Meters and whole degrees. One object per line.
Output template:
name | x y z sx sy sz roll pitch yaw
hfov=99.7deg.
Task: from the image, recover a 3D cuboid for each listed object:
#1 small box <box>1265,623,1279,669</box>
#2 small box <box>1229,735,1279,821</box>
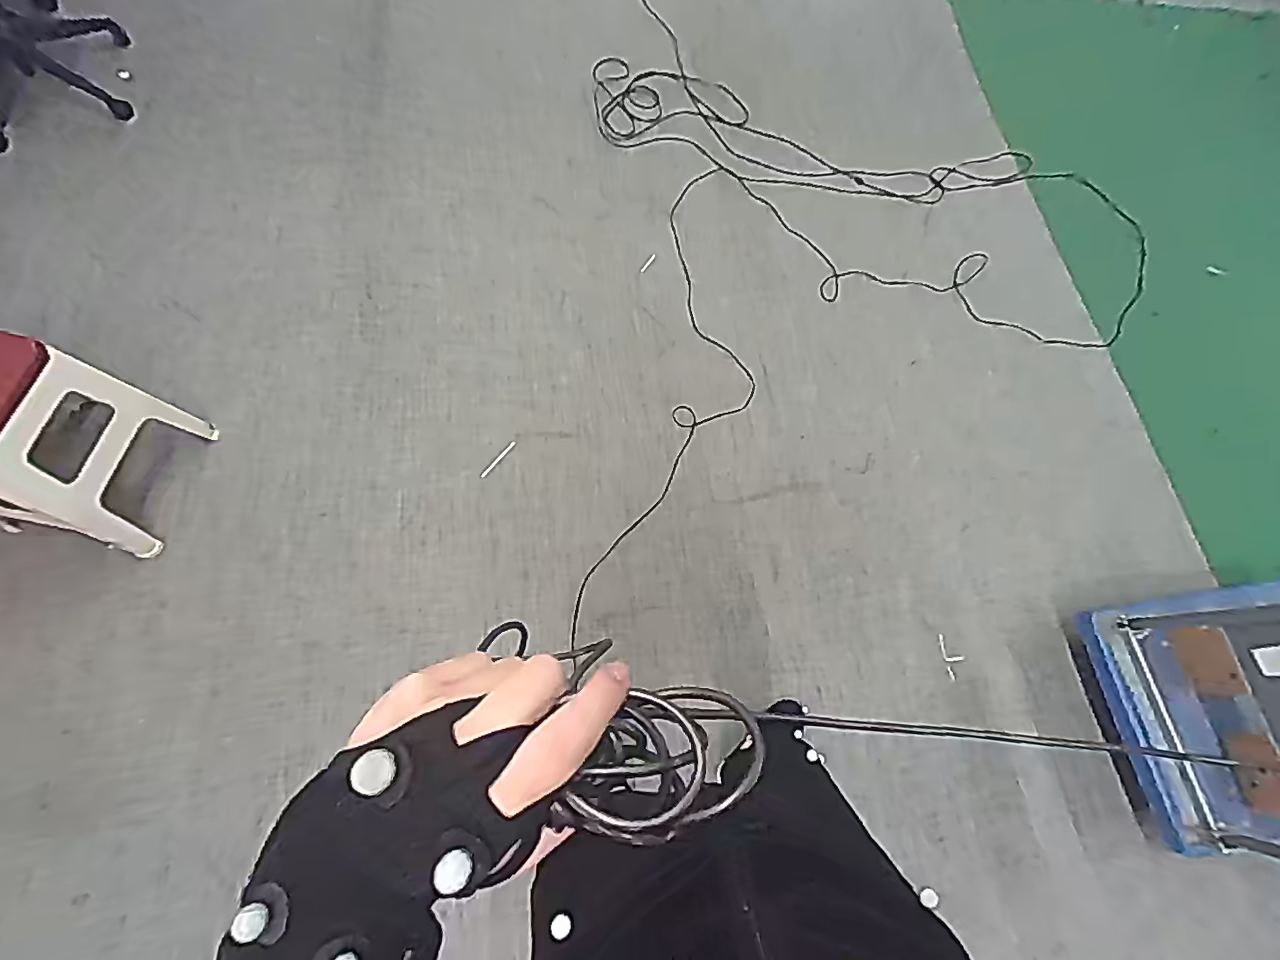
small box | 1.778 0.442 1.378 0.179 0.176 0.168 -9 72 -9
small box | 1.564 0.699 1.260 0.179 0.176 0.168 -5 70 -7
